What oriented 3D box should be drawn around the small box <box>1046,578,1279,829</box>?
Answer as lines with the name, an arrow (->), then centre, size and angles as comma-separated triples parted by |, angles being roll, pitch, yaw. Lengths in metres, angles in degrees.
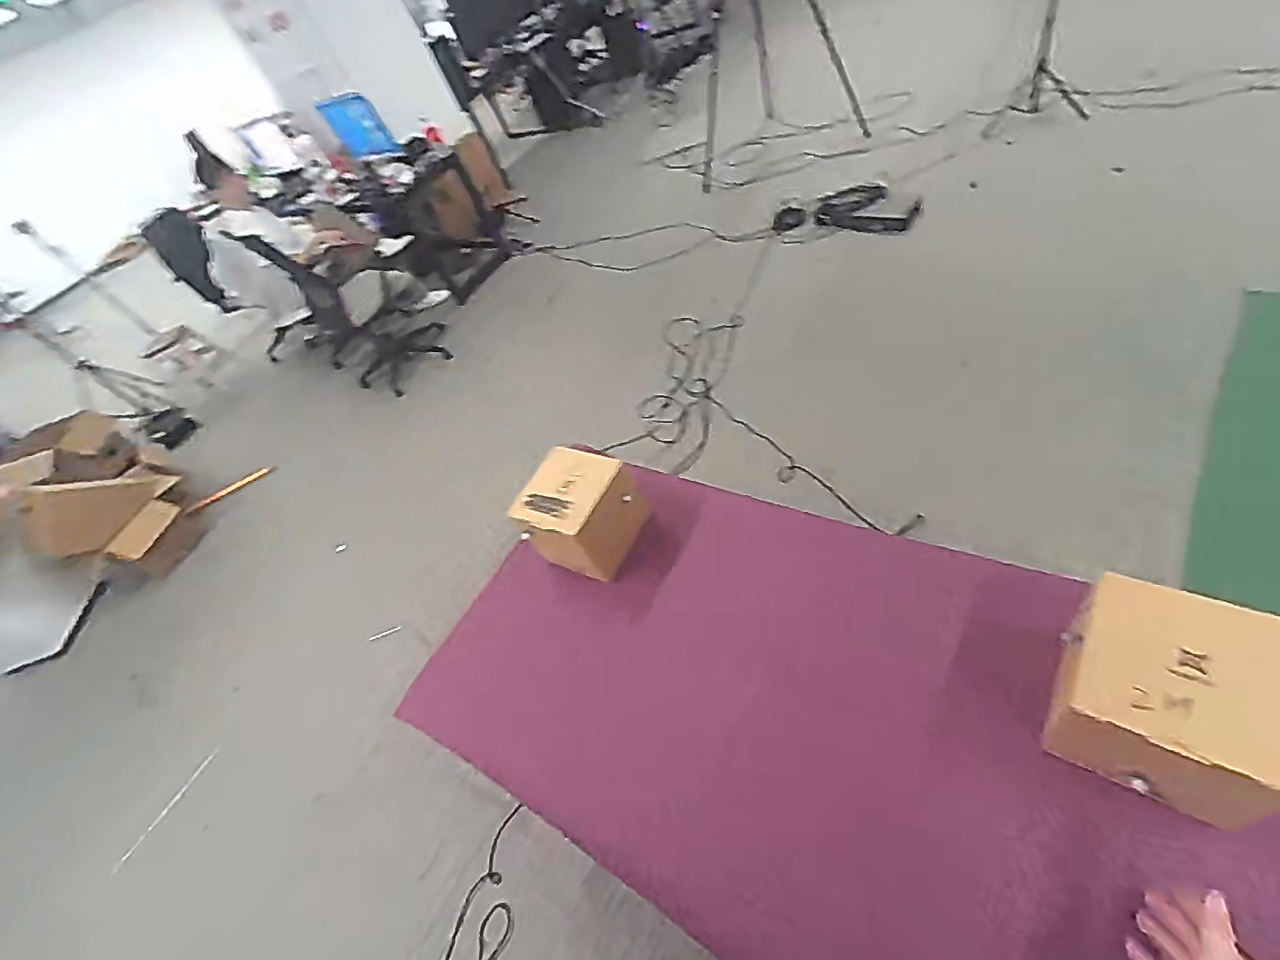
small box -> 0.577, 0.245, 0.598 | 0.168, 0.176, 0.179 | 18, 62, 36
